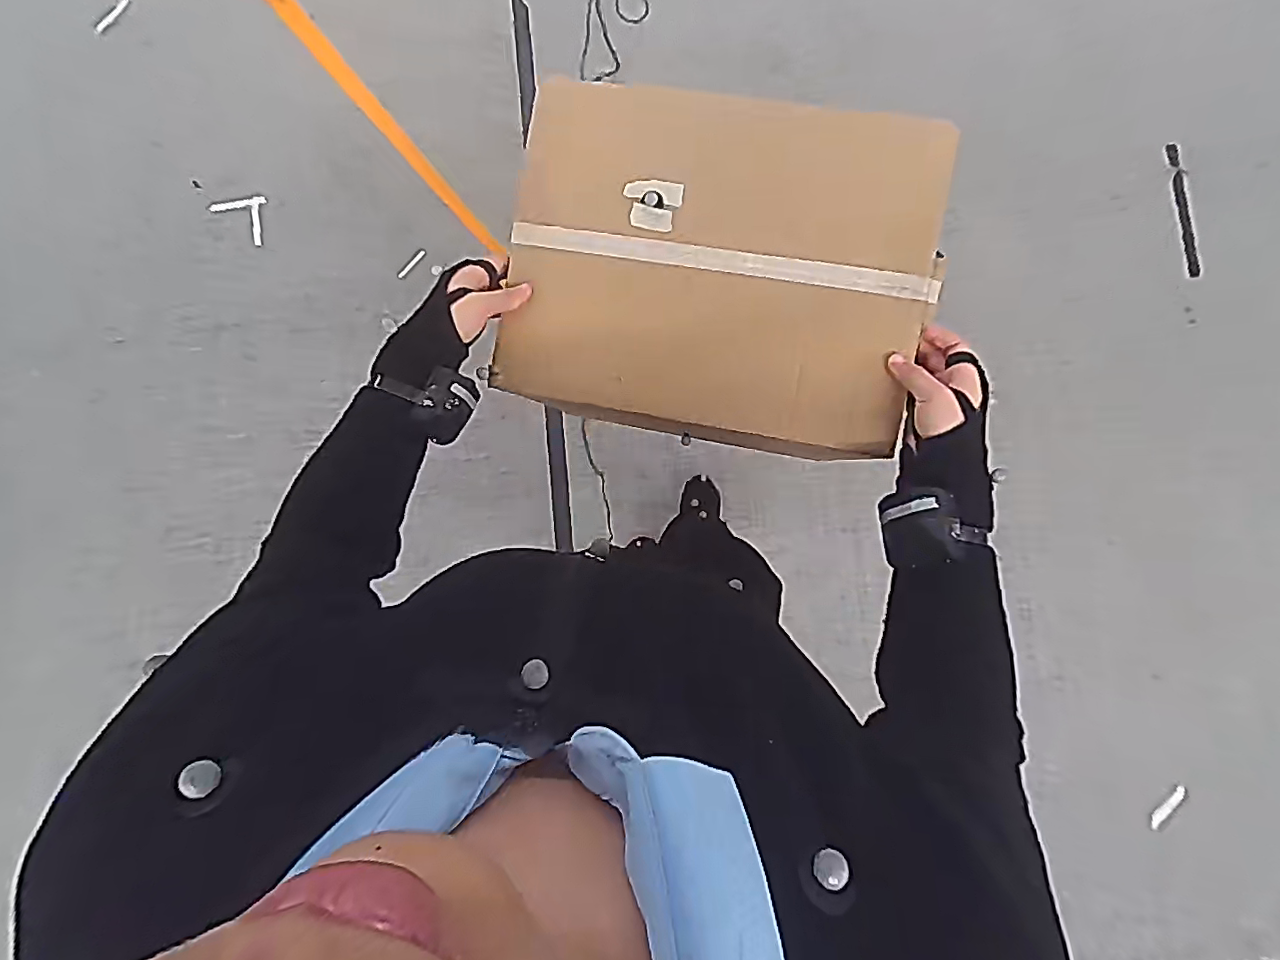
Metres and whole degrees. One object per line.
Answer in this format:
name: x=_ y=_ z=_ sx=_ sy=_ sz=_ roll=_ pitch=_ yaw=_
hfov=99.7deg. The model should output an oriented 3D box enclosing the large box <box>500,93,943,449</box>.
large box: x=0.090 y=-0.221 z=0.683 sx=0.408 sy=0.320 sz=0.320 roll=10 pitch=92 yaw=7
